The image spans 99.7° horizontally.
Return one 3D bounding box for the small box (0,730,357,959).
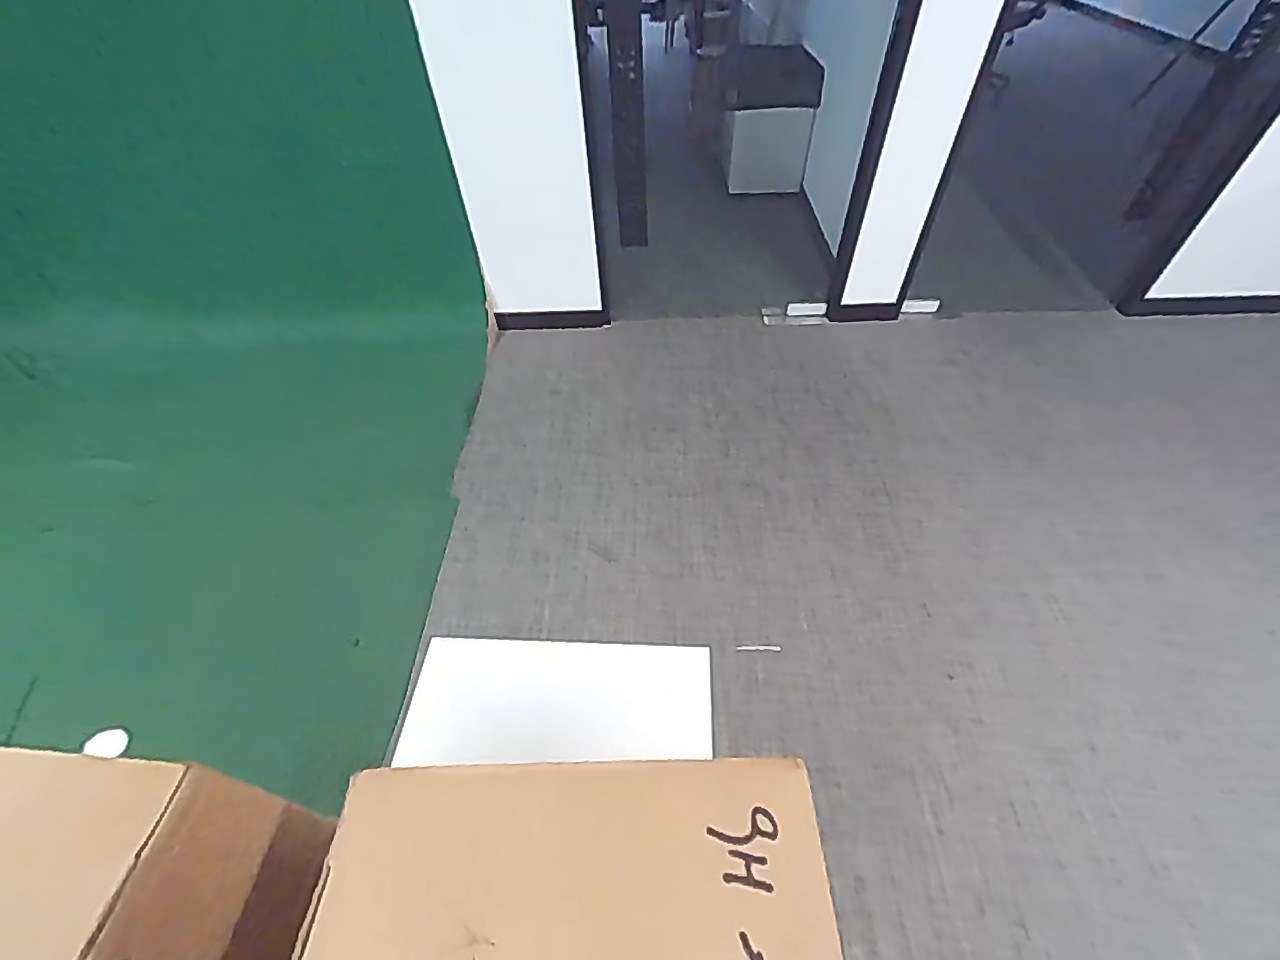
[{"bbox_3d":[-0.266,0.220,0.233,0.179,0.176,0.168,3,49,4],"label":"small box"}]
